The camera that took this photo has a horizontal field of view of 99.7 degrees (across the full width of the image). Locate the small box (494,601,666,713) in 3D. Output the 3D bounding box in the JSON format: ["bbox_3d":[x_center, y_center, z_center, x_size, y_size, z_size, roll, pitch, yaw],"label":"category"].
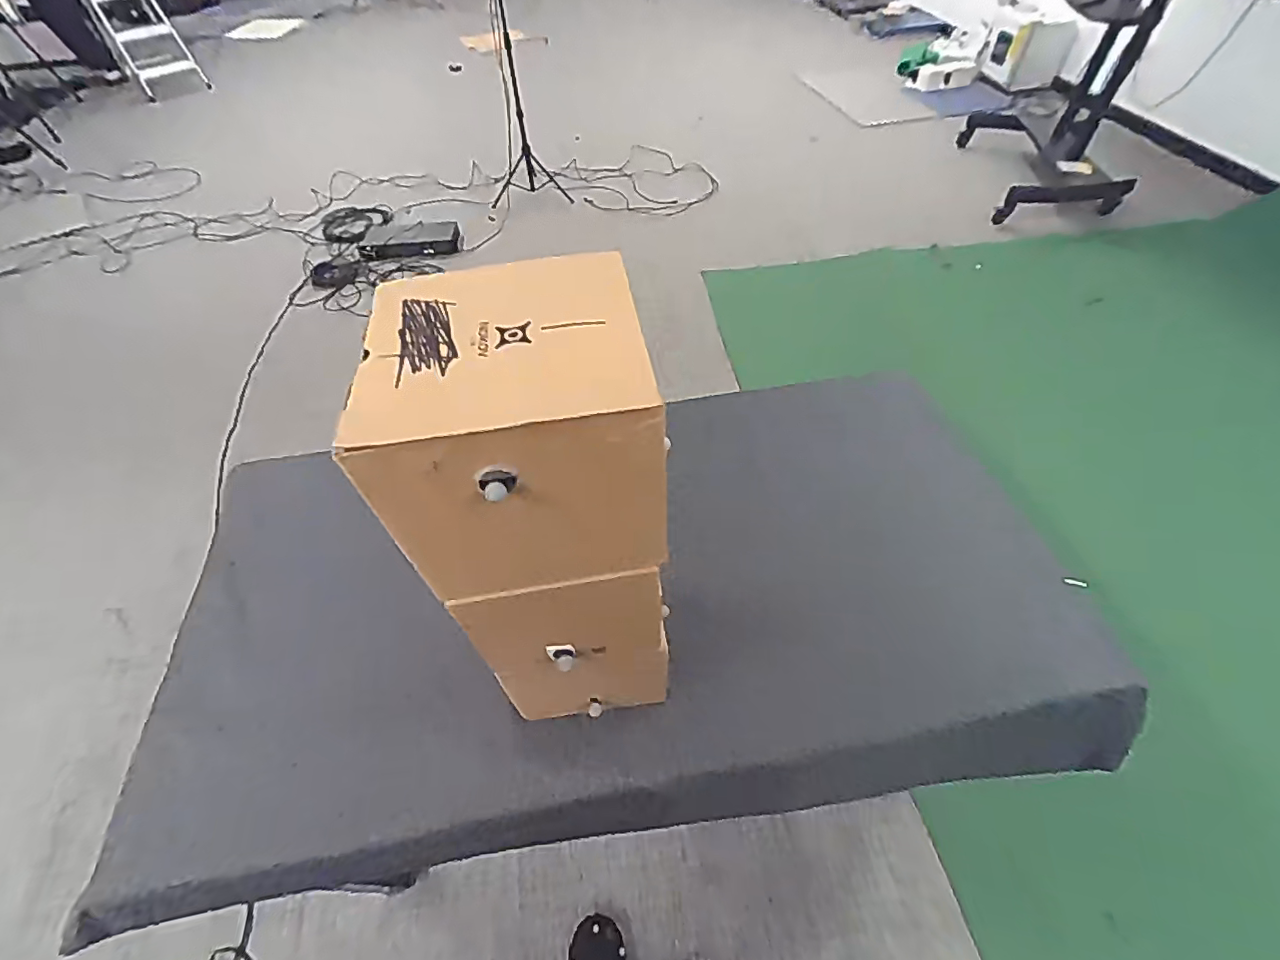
[{"bbox_3d":[-0.070,0.167,0.656,0.179,0.176,0.168,-7,51,-4],"label":"small box"}]

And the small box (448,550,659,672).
[{"bbox_3d":[-0.077,0.064,0.531,0.168,0.176,0.179,-10,53,-4],"label":"small box"}]

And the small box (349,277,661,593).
[{"bbox_3d":[-0.084,-0.027,0.414,0.179,0.176,0.168,-9,52,-4],"label":"small box"}]
